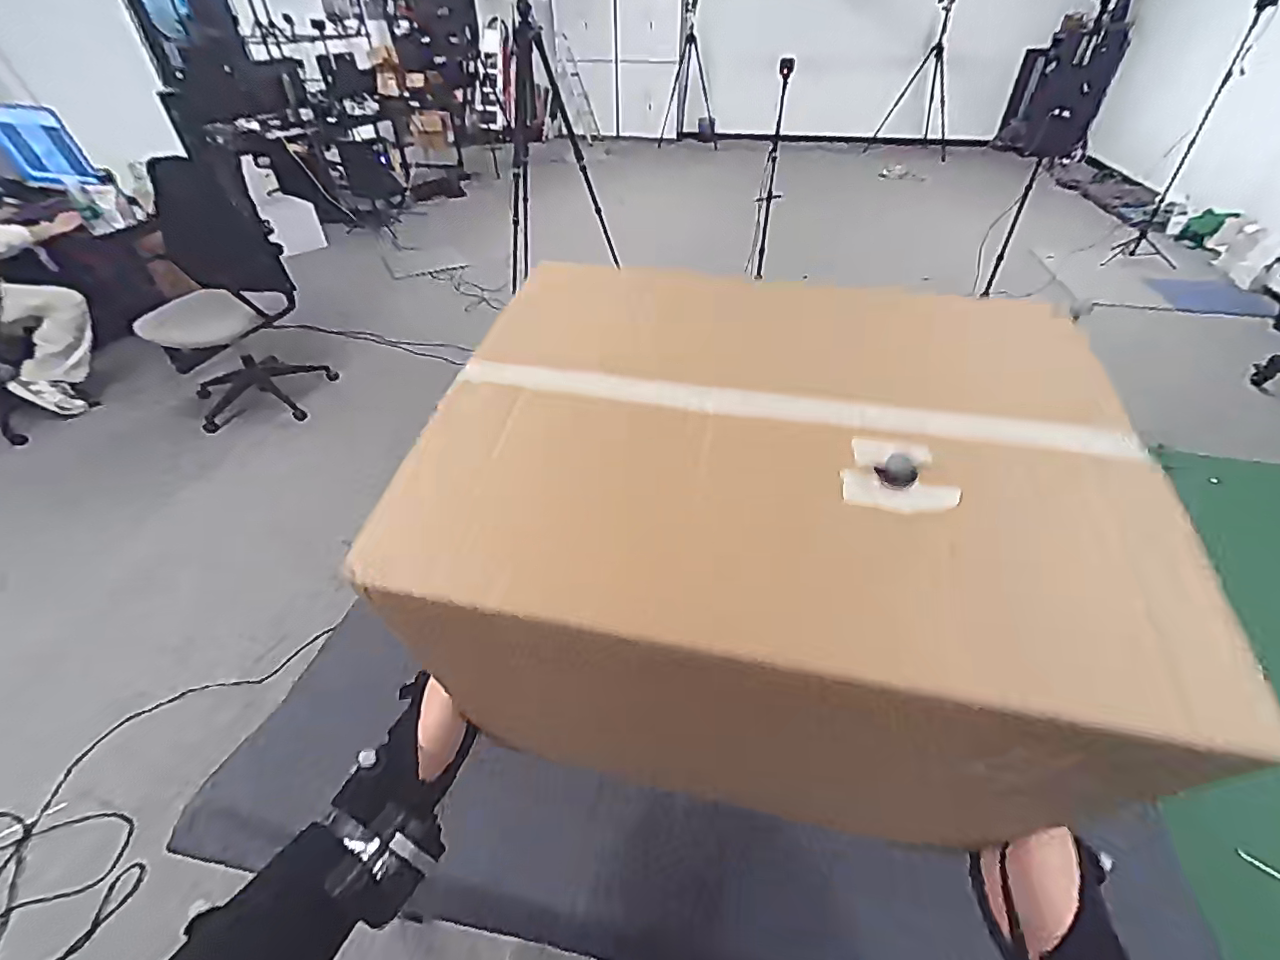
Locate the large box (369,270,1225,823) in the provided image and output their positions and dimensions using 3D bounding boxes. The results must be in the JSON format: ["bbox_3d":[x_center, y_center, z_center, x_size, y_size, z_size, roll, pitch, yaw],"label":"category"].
[{"bbox_3d":[0.082,0.053,0.458,0.408,0.320,0.320,8,52,9],"label":"large box"}]
